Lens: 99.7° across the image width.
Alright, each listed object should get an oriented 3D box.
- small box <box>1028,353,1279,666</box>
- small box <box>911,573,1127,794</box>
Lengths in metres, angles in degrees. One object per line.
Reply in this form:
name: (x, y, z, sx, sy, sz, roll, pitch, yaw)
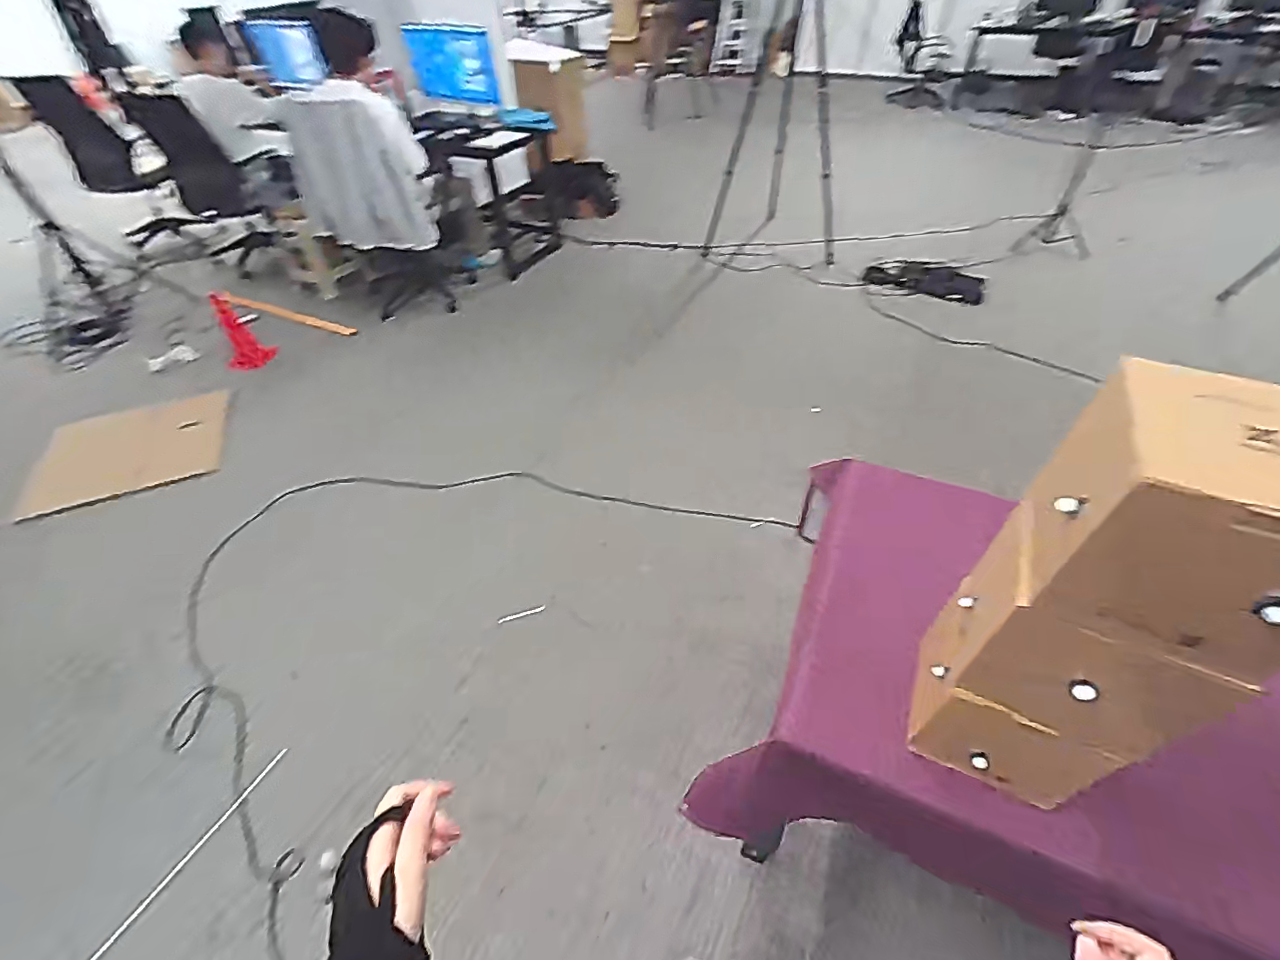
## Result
small box: (0.459, 0.024, 0.457, 0.168, 0.176, 0.179, 20, 49, 19)
small box: (0.463, 0.257, 0.687, 0.168, 0.176, 0.179, 18, 49, 19)
